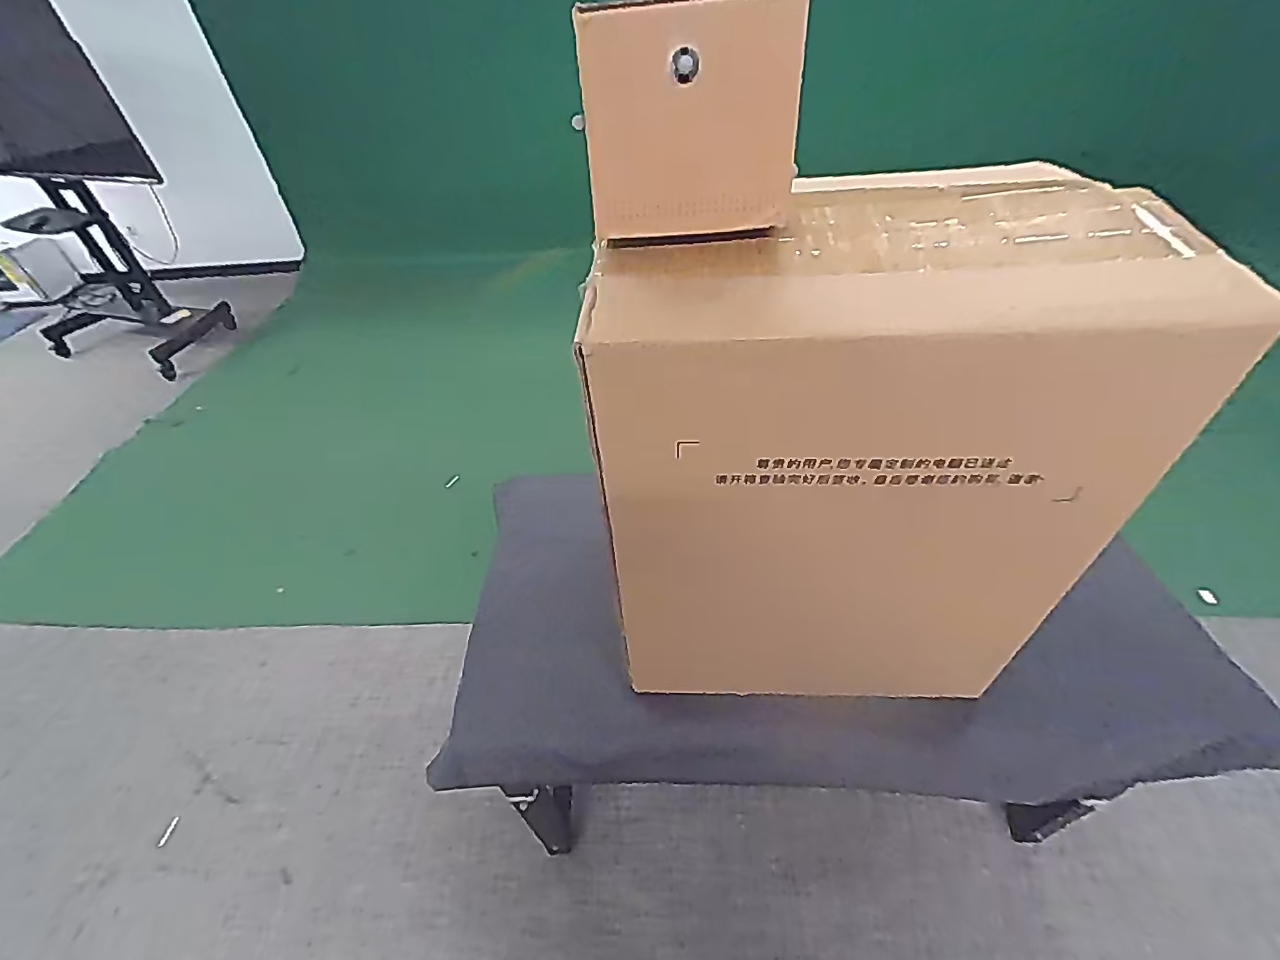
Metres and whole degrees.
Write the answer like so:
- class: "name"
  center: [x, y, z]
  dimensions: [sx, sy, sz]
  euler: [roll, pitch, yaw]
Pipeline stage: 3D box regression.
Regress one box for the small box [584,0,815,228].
- class: "small box"
  center: [0.048, -0.341, 0.503]
  dimensions: [0.179, 0.176, 0.168]
  euler: [-1, 38, 1]
